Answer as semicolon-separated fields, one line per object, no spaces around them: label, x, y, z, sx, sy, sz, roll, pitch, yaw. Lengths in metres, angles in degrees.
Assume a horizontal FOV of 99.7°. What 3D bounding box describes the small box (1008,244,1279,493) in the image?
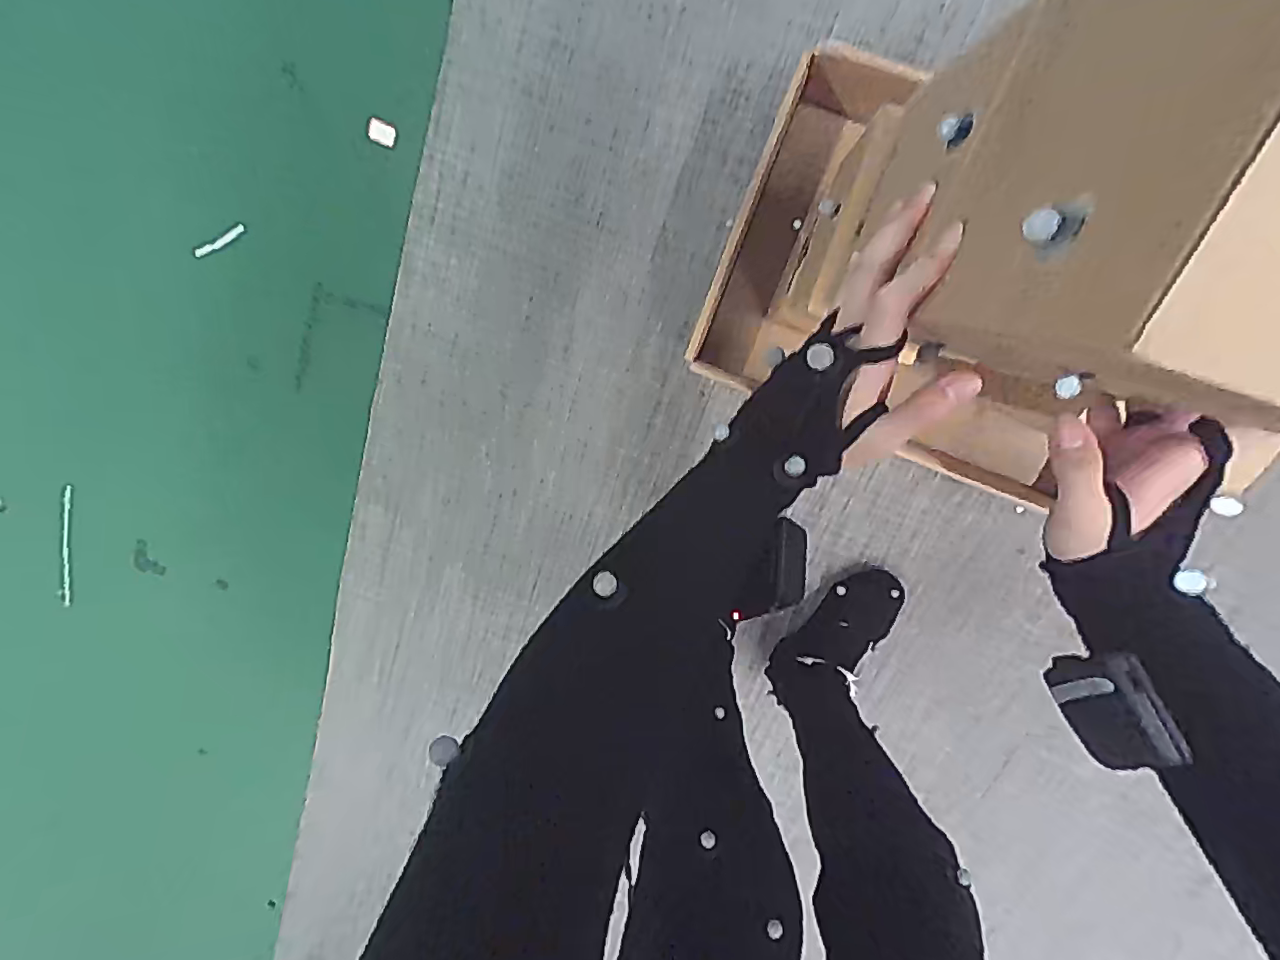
small box;0.512;-0.118;0.535;0.168;0.176;0.179;25;108;1

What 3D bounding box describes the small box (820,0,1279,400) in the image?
small box;0.251;-0.173;0.366;0.179;0.176;0.168;18;110;-3

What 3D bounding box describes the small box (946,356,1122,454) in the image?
small box;0.539;-0.156;0.689;0.179;0.176;0.168;24;107;2

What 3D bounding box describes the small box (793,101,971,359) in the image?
small box;0.264;-0.235;0.547;0.168;0.176;0.179;18;108;4
